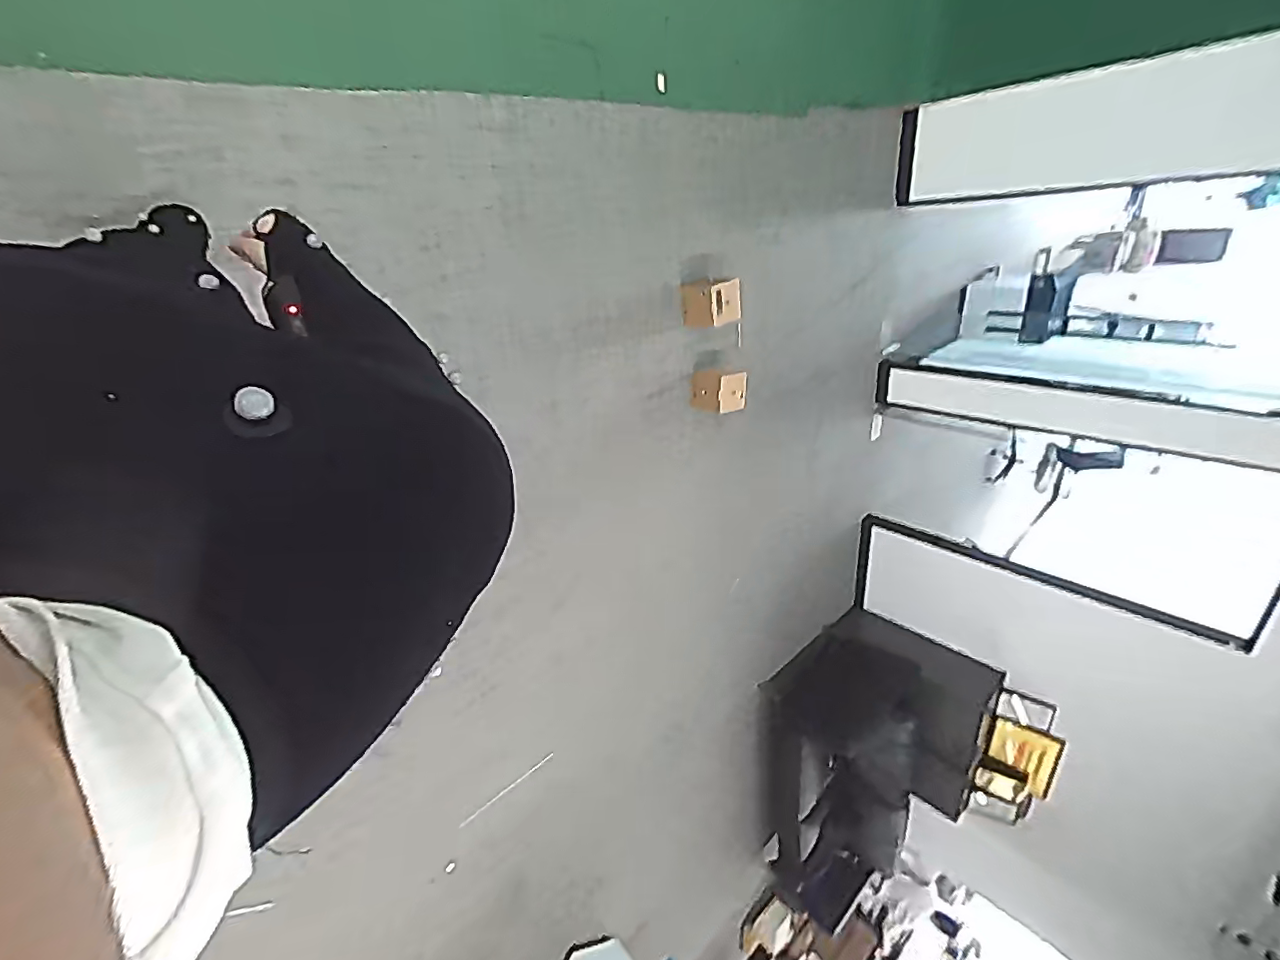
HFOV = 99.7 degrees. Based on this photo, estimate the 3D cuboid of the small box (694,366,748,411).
[{"bbox_3d":[0.357,-0.412,2.418,0.179,0.176,0.168,-17,118,-37],"label":"small box"}]
